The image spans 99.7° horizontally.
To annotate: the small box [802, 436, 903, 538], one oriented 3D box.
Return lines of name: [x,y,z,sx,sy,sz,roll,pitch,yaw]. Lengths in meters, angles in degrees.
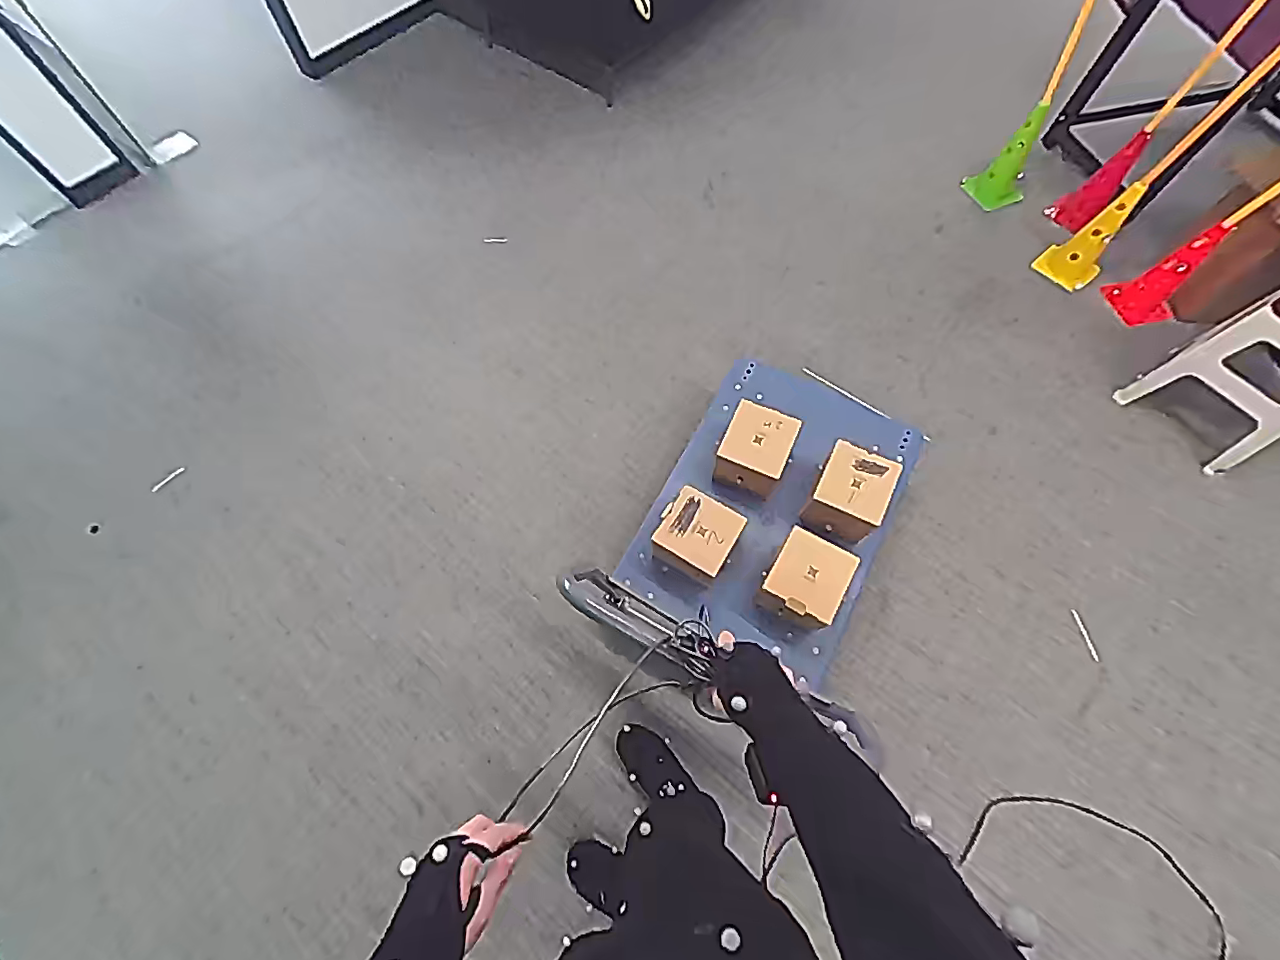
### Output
small box: [0.527,0.024,1.367,0.168,0.176,0.179,26,75,12]

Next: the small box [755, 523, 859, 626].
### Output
small box: [0.392,0.233,1.302,0.168,0.176,0.179,29,75,13]

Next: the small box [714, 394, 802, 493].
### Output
small box: [0.303,-0.088,1.419,0.168,0.176,0.179,24,74,11]
